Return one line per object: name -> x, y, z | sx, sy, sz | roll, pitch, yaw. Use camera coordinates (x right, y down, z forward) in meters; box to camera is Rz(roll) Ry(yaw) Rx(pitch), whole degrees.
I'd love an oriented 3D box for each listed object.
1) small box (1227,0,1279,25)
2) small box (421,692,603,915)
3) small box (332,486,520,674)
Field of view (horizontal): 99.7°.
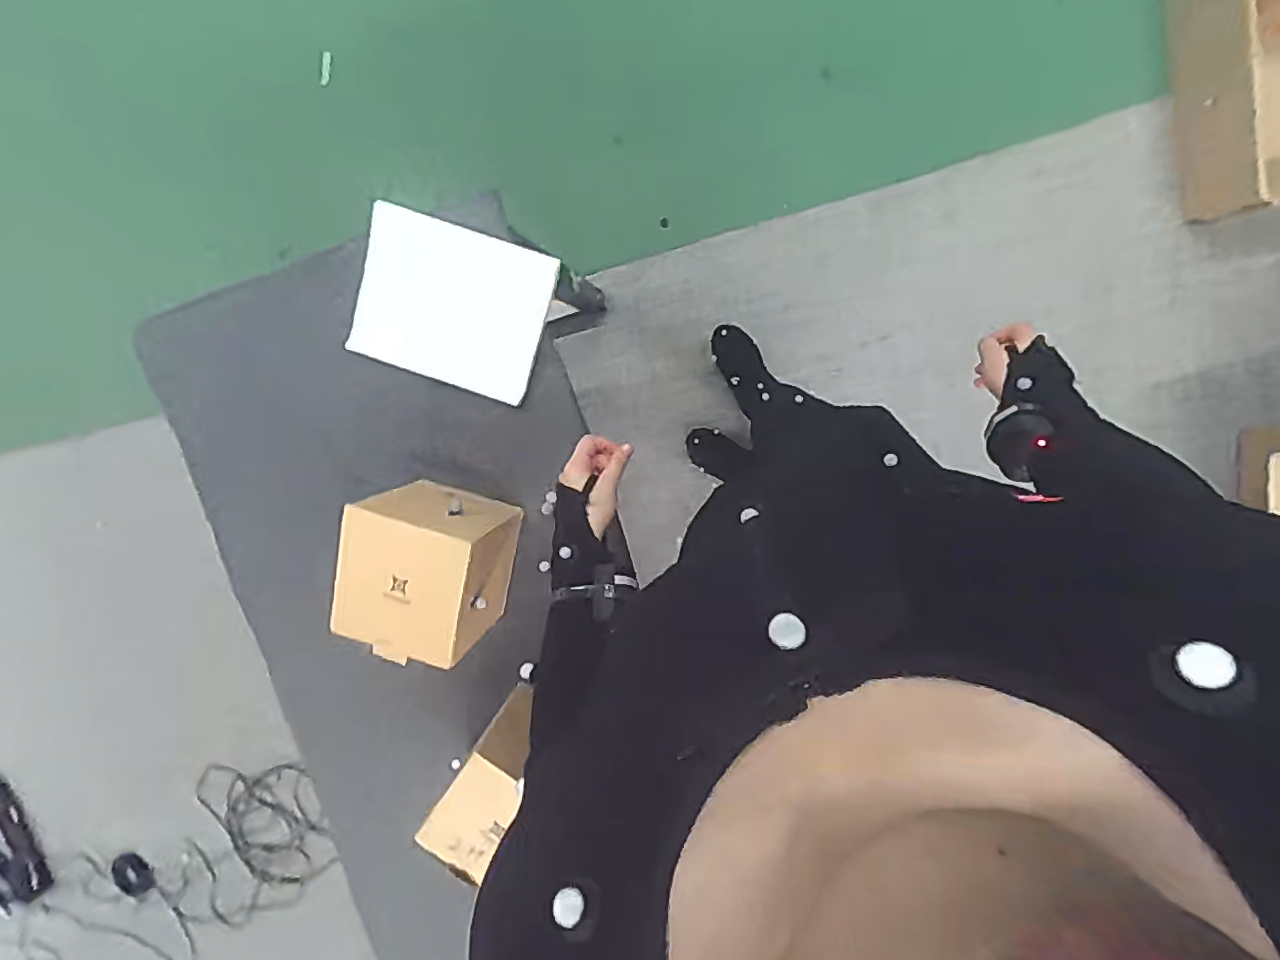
small box -> 1.276, -0.988, 1.001 | 0.179, 0.176, 0.168 | 2, 102, 6
small box -> -0.167, 0.443, 0.770 | 0.168, 0.176, 0.179 | 34, 104, 1
small box -> -0.273, 0.119, 0.721 | 0.168, 0.176, 0.179 | 15, 104, 5
